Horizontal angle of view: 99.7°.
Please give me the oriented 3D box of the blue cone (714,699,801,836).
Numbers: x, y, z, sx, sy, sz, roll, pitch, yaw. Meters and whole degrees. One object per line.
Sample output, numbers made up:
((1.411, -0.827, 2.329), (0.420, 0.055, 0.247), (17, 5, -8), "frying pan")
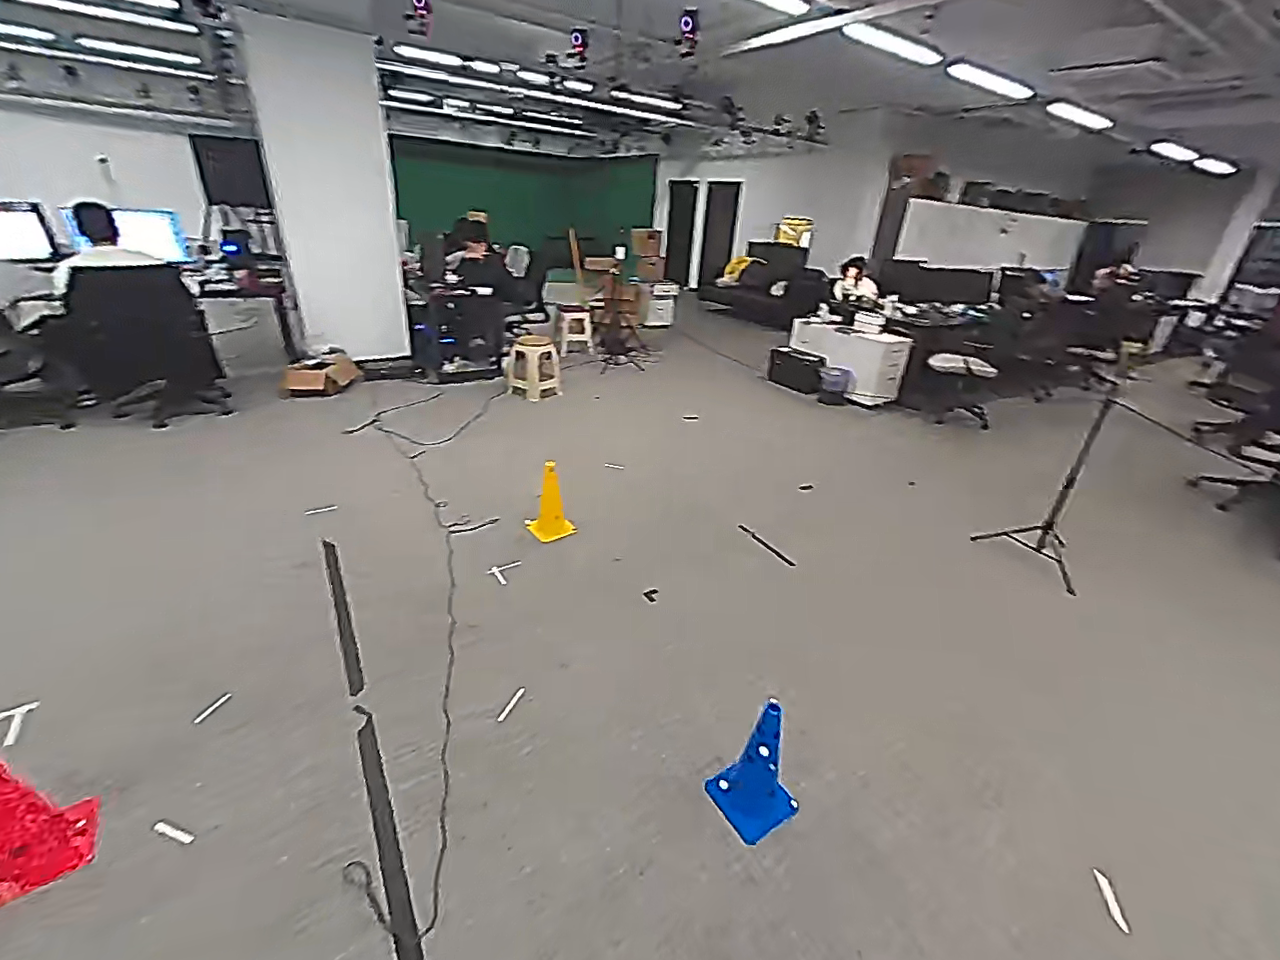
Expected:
((0.336, 0.729, 1.431), (0.192, 0.380, 0.193), (-11, 30, -30), "blue cone")

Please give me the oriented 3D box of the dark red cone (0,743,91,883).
((-1.407, 0.686, 1.189), (0.201, 0.394, 0.202), (-16, 33, -37), "dark red cone")
